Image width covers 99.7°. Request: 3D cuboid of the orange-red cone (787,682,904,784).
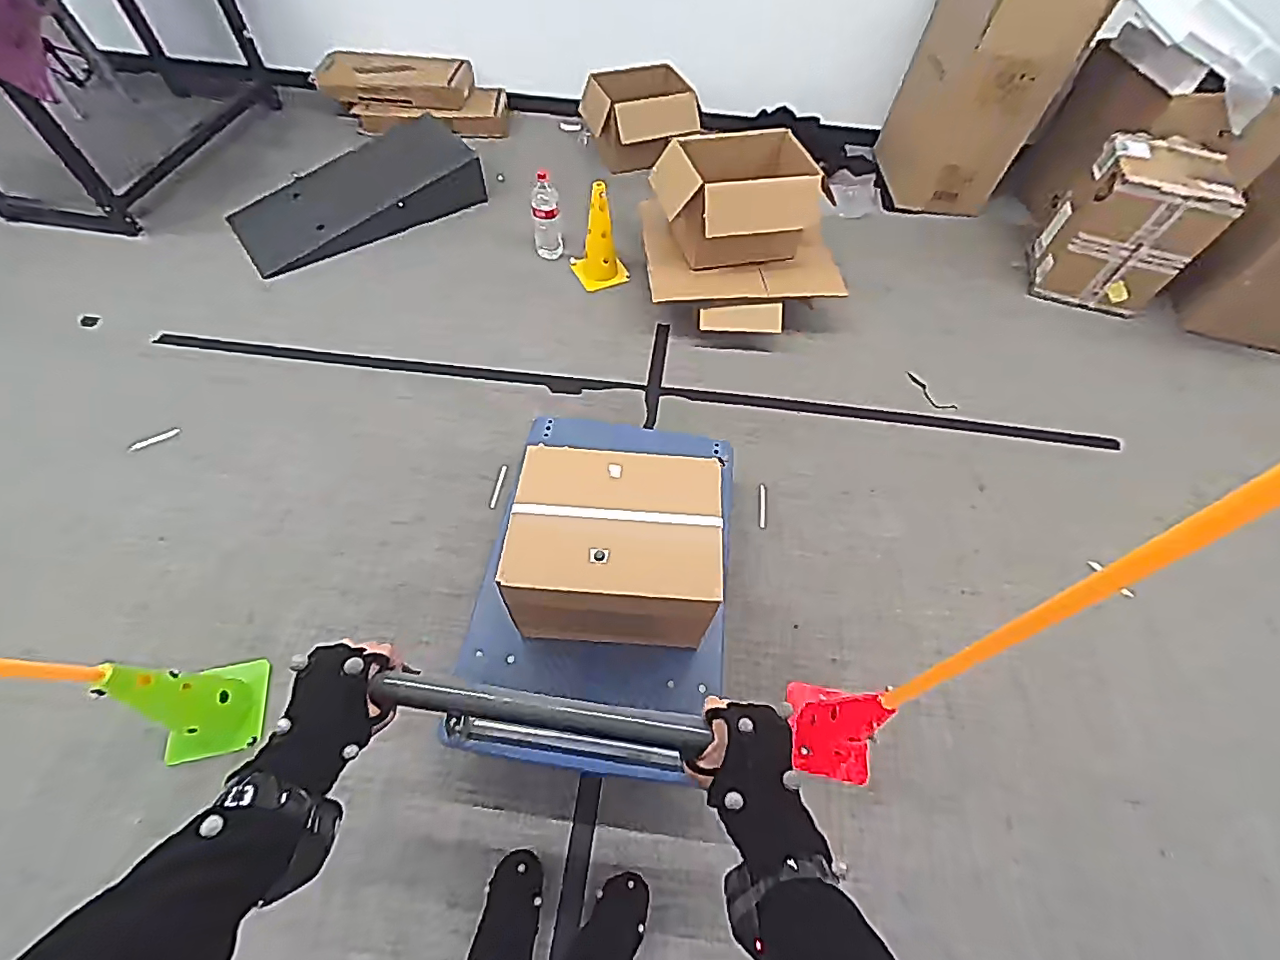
[{"bbox_3d":[0.467,0.512,1.153,0.199,0.360,0.198,13,58,4],"label":"orange-red cone"}]
